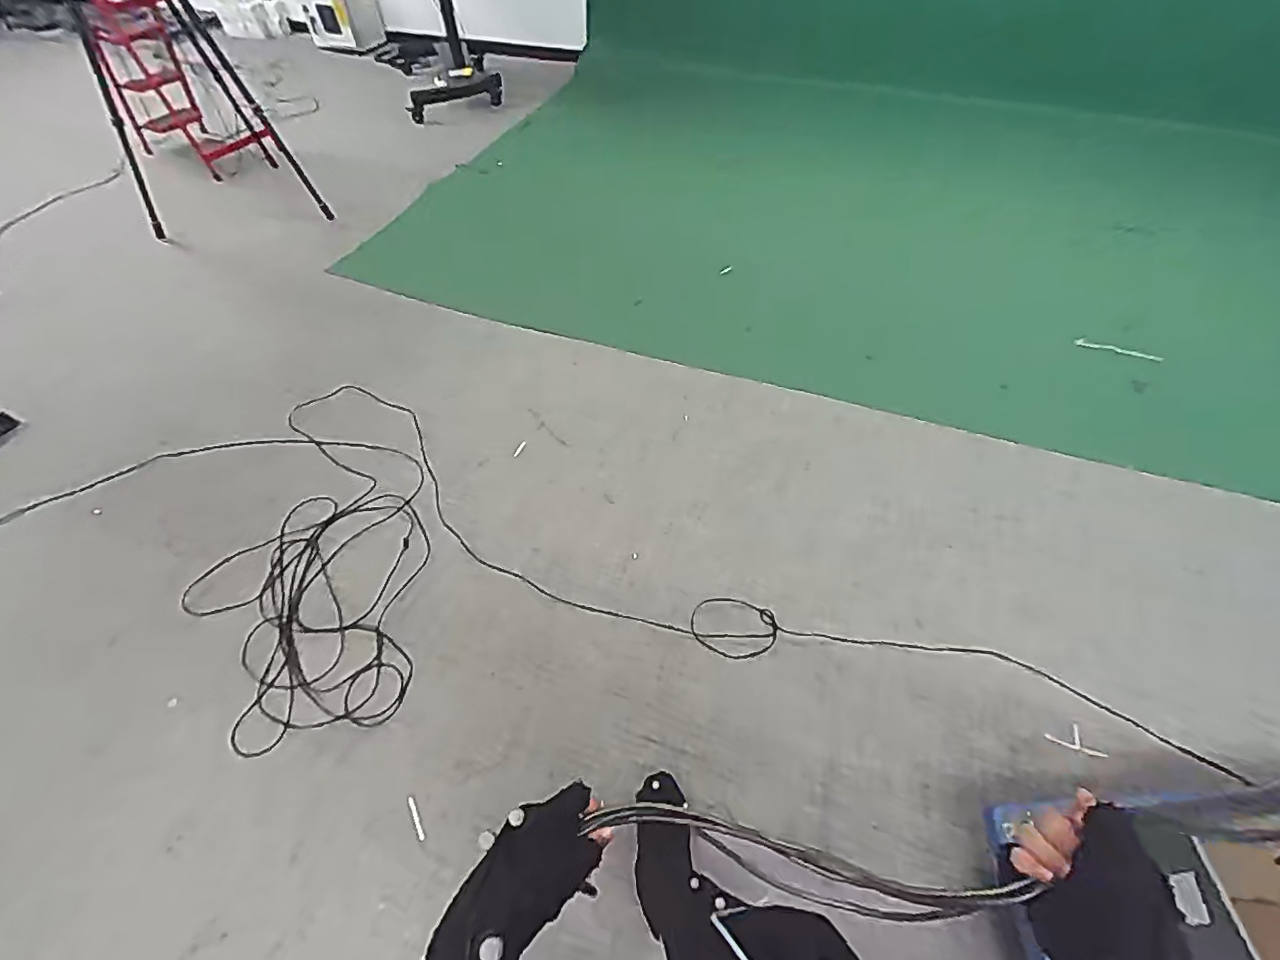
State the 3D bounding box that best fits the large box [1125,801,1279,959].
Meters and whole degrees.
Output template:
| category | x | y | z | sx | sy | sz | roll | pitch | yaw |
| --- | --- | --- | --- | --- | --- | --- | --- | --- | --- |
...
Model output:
| category | x | y | z | sx | sy | sz | roll | pitch | yaw |
| --- | --- | --- | --- | --- | --- | --- | --- | --- | --- |
| large box | 1.116 | 0.762 | 0.817 | 0.320 | 0.320 | 0.408 | -21 | 55 | -15 |
